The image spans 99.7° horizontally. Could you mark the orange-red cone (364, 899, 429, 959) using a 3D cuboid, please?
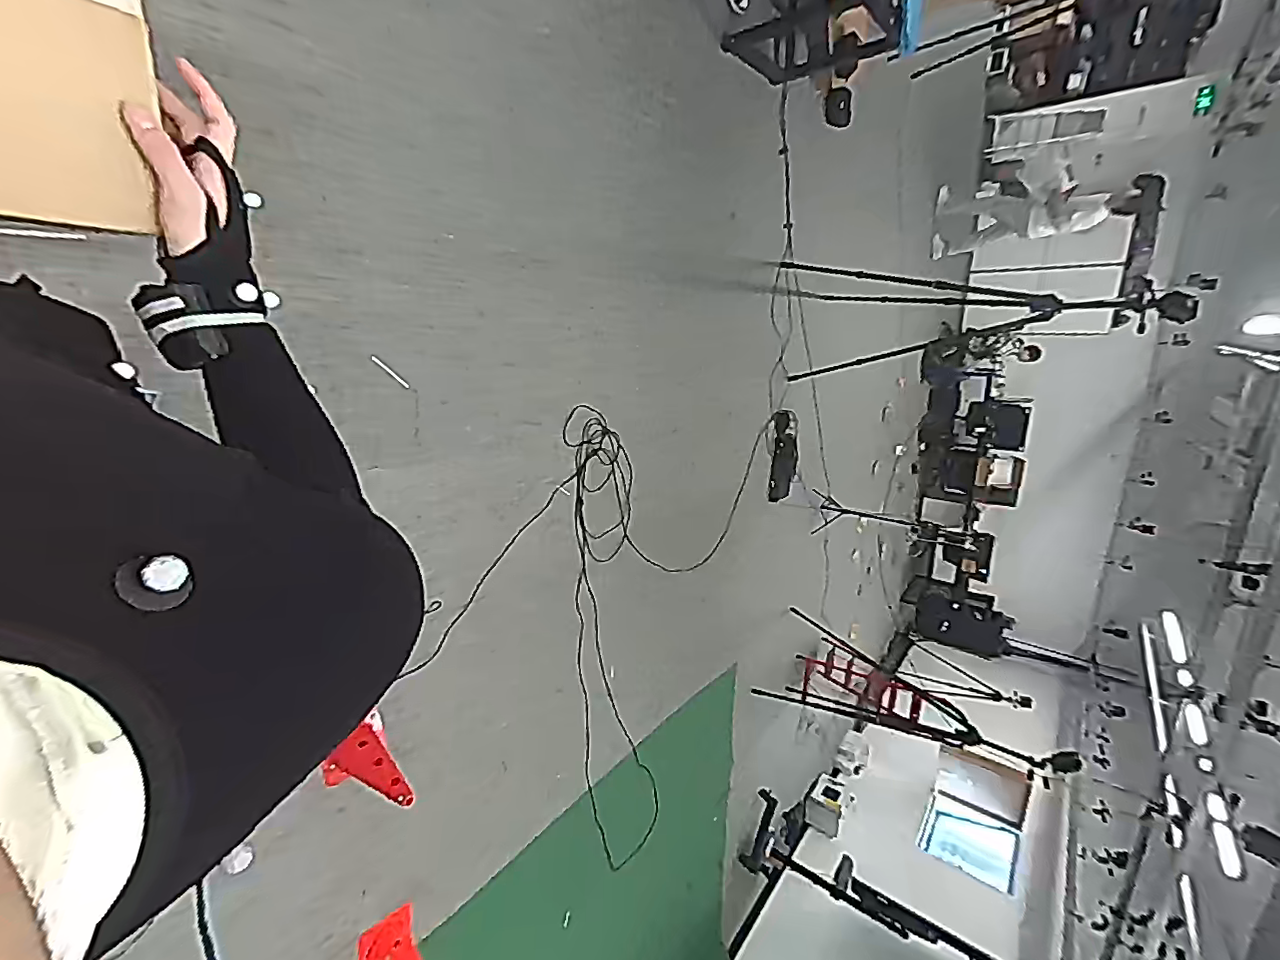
[{"bbox_3d":[-0.796,1.725,1.913,0.199,0.360,0.198,-7,106,-52],"label":"orange-red cone"}]
